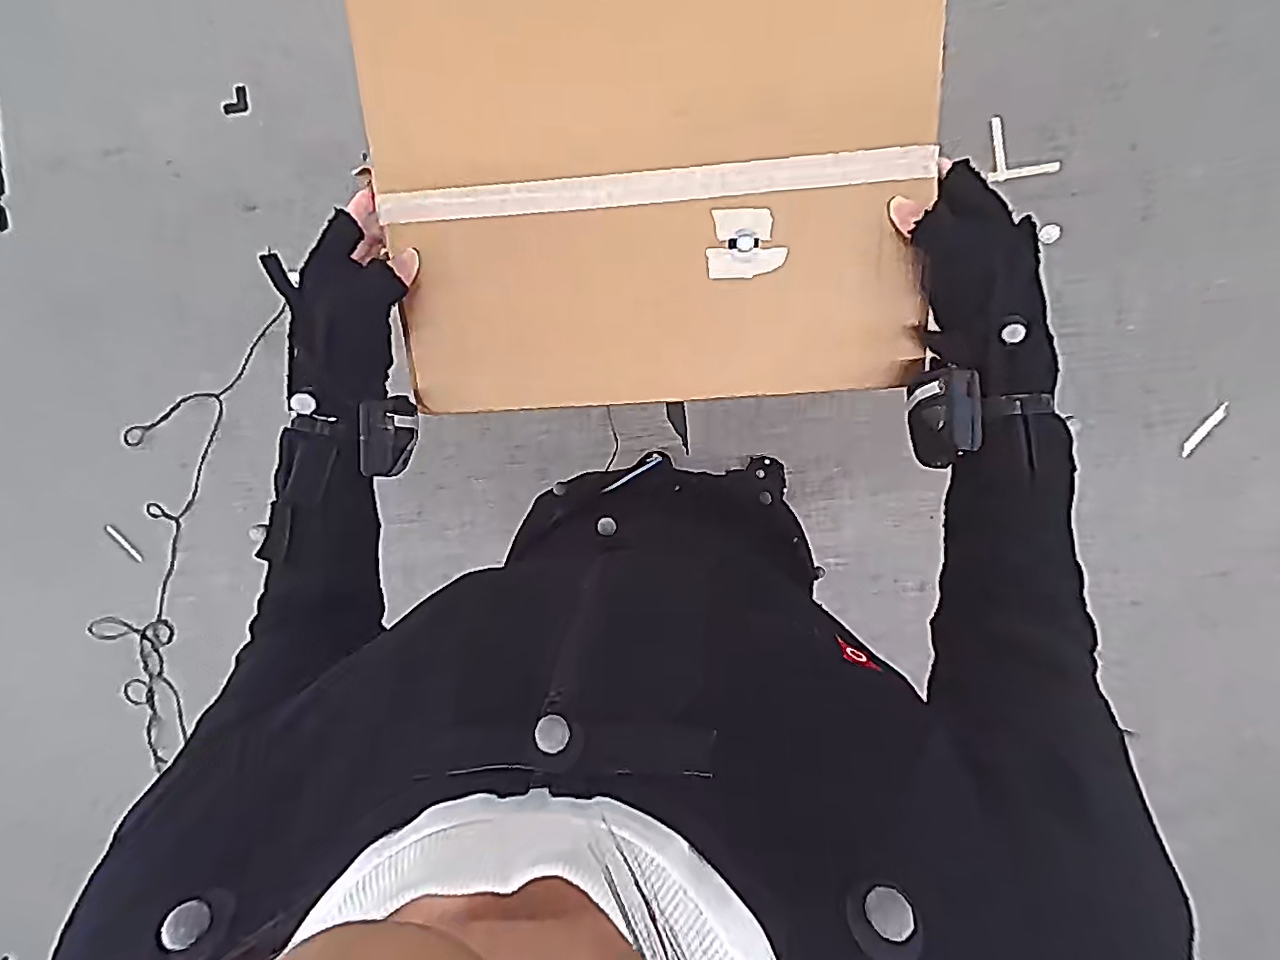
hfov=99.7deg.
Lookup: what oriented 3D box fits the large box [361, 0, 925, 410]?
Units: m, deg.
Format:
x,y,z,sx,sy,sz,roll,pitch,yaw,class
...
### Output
x,y,z,sx,sy,sz,roll,pitch,yaw,class
0.013,-0.259,0.554,0.408,0.320,0.320,-4,105,4,large box
